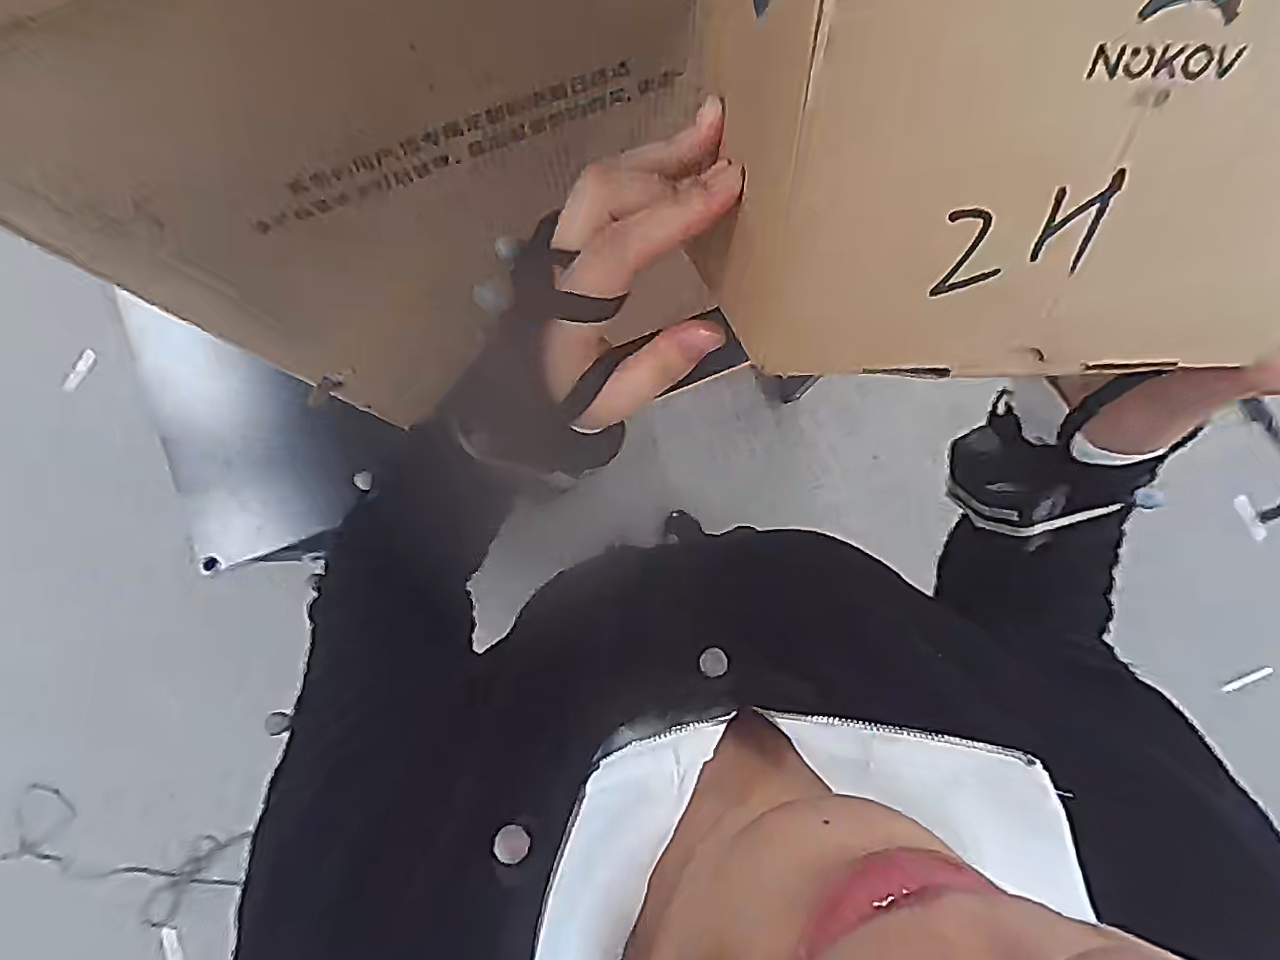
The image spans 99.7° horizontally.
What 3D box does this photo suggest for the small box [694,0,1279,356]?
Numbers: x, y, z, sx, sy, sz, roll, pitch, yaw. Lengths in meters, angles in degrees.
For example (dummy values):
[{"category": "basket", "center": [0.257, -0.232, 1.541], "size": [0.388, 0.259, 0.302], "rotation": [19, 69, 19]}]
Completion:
[{"category": "small box", "center": [0.115, -0.157, 0.190], "size": [0.168, 0.176, 0.179], "rotation": [-1, 125, -3]}]
